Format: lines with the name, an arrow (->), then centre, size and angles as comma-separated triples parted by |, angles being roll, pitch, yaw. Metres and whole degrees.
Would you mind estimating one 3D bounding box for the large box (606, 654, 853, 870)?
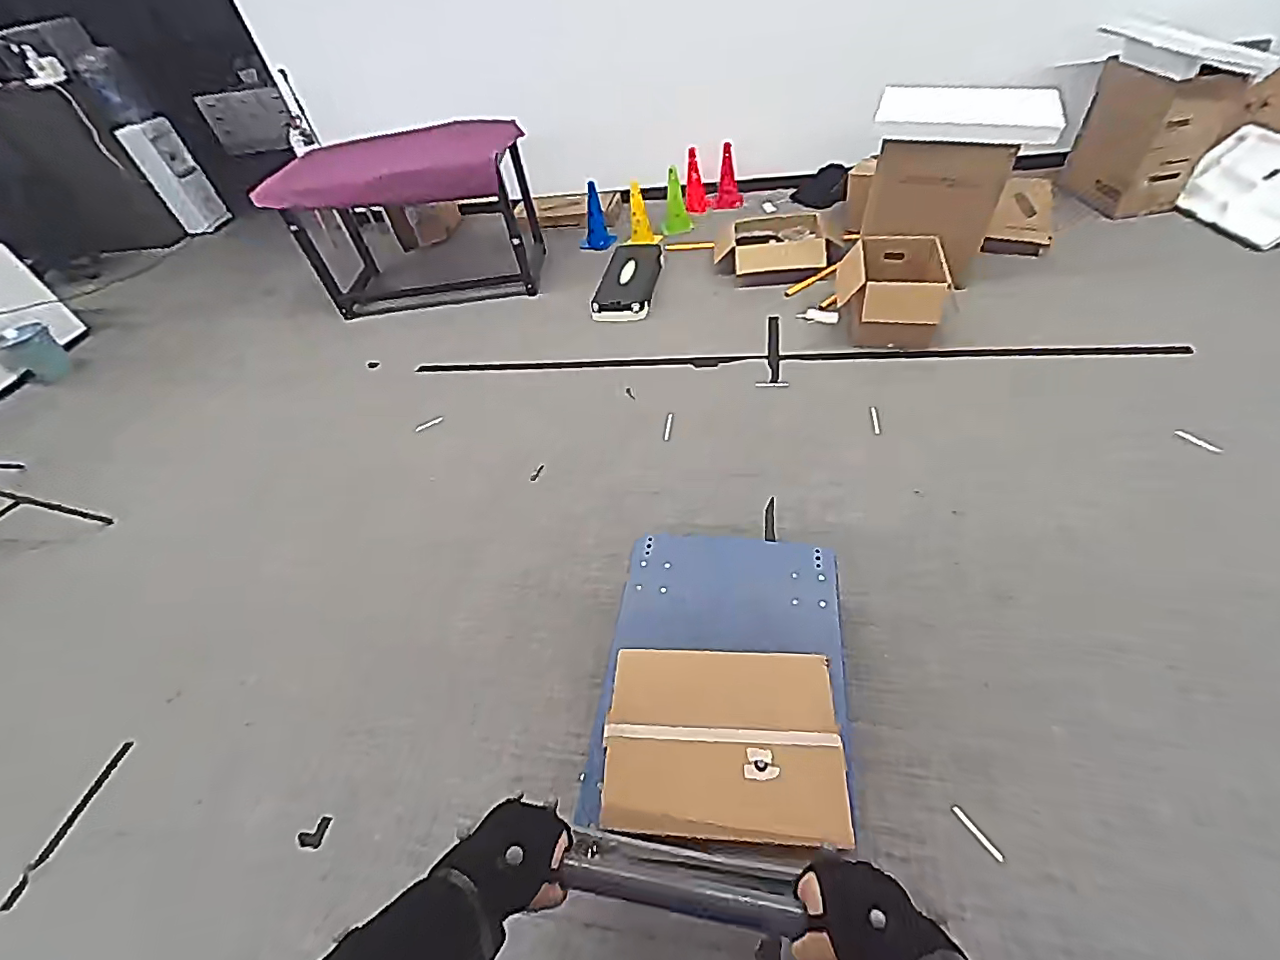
large box -> 0.162, 0.560, 1.076 | 0.408, 0.320, 0.320 | -1, 49, 7
